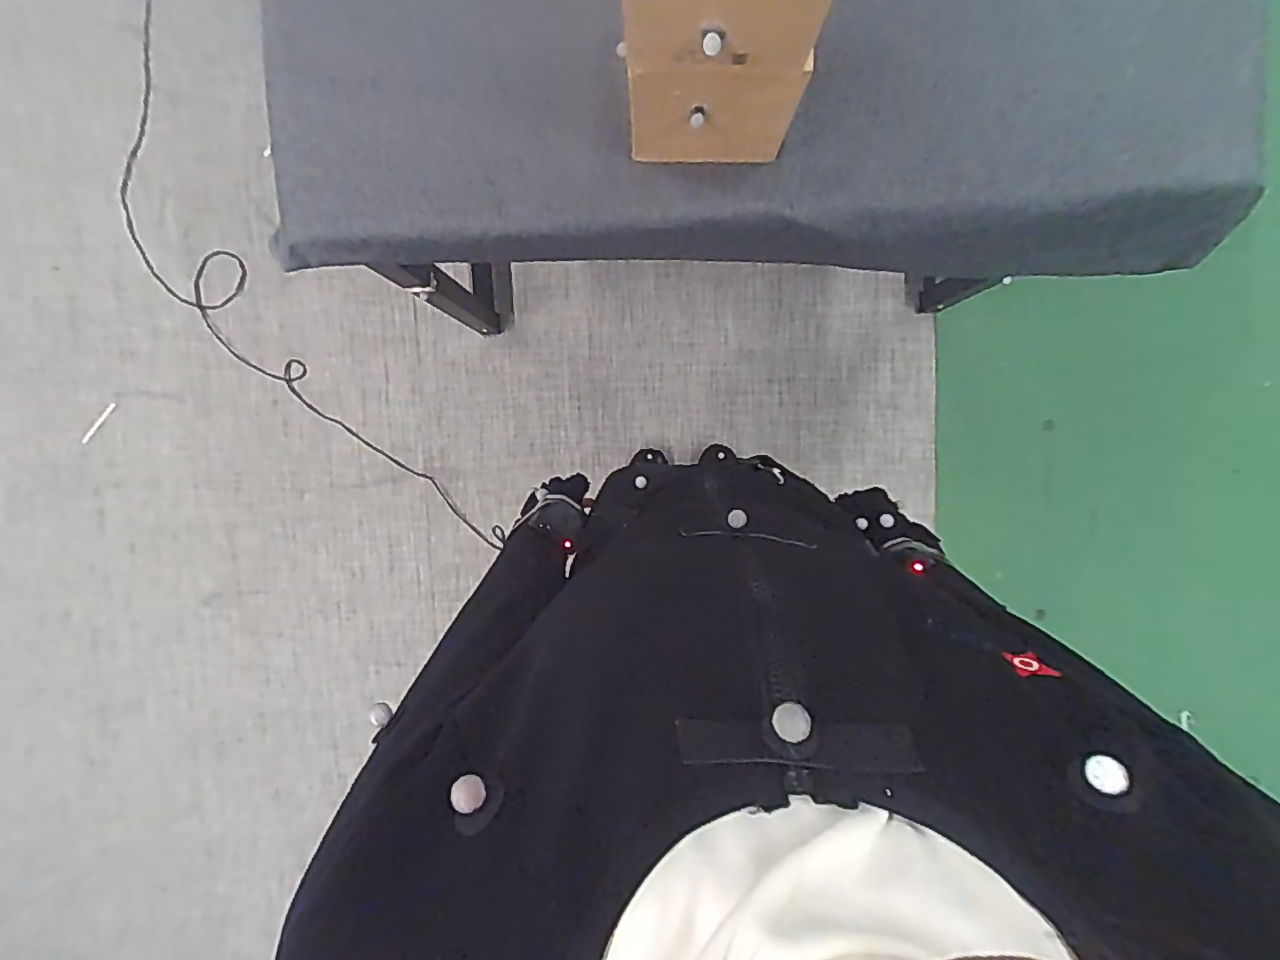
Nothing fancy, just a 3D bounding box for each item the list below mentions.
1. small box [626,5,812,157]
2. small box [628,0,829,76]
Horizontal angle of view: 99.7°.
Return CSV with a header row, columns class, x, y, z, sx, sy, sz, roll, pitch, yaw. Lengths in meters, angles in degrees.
class,x,y,z,sx,sy,sz,roll,pitch,yaw
small box,0.079,-0.475,0.584,0.179,0.176,0.168,2,94,1
small box,0.076,-0.466,0.420,0.168,0.176,0.179,5,95,1
